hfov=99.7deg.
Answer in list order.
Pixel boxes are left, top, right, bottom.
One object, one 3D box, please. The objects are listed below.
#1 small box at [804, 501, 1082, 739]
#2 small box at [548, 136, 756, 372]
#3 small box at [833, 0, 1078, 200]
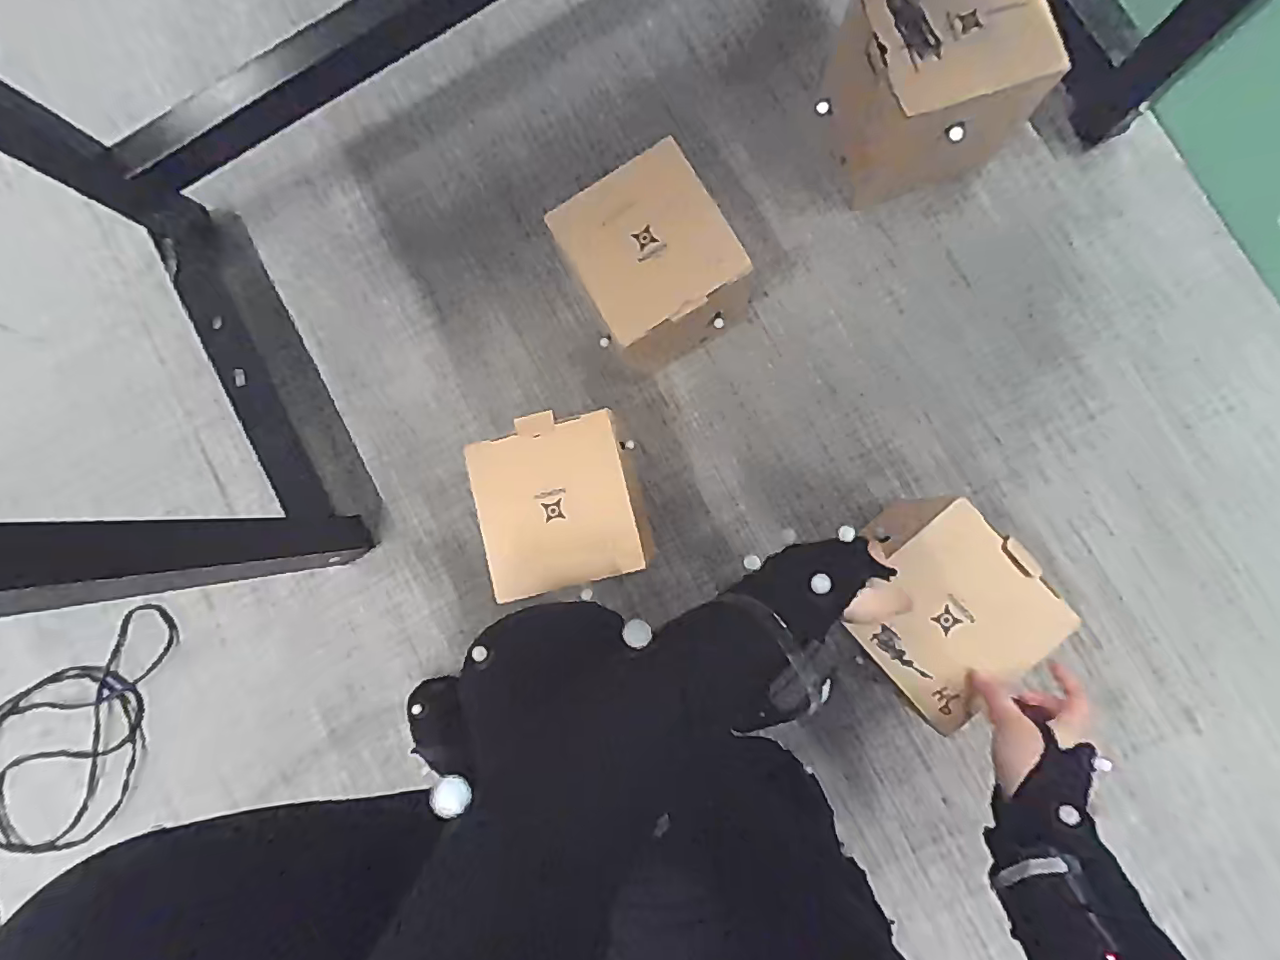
[{"bbox_3d":[0.311,0.137,0.602,0.179,0.176,0.168,-41,85,3],"label":"small box"},{"bbox_3d":[0.019,-0.249,0.650,0.168,0.176,0.179,-31,84,3],"label":"small box"},{"bbox_3d":[0.342,-0.463,0.631,0.179,0.176,0.168,-16,86,3],"label":"small box"}]
